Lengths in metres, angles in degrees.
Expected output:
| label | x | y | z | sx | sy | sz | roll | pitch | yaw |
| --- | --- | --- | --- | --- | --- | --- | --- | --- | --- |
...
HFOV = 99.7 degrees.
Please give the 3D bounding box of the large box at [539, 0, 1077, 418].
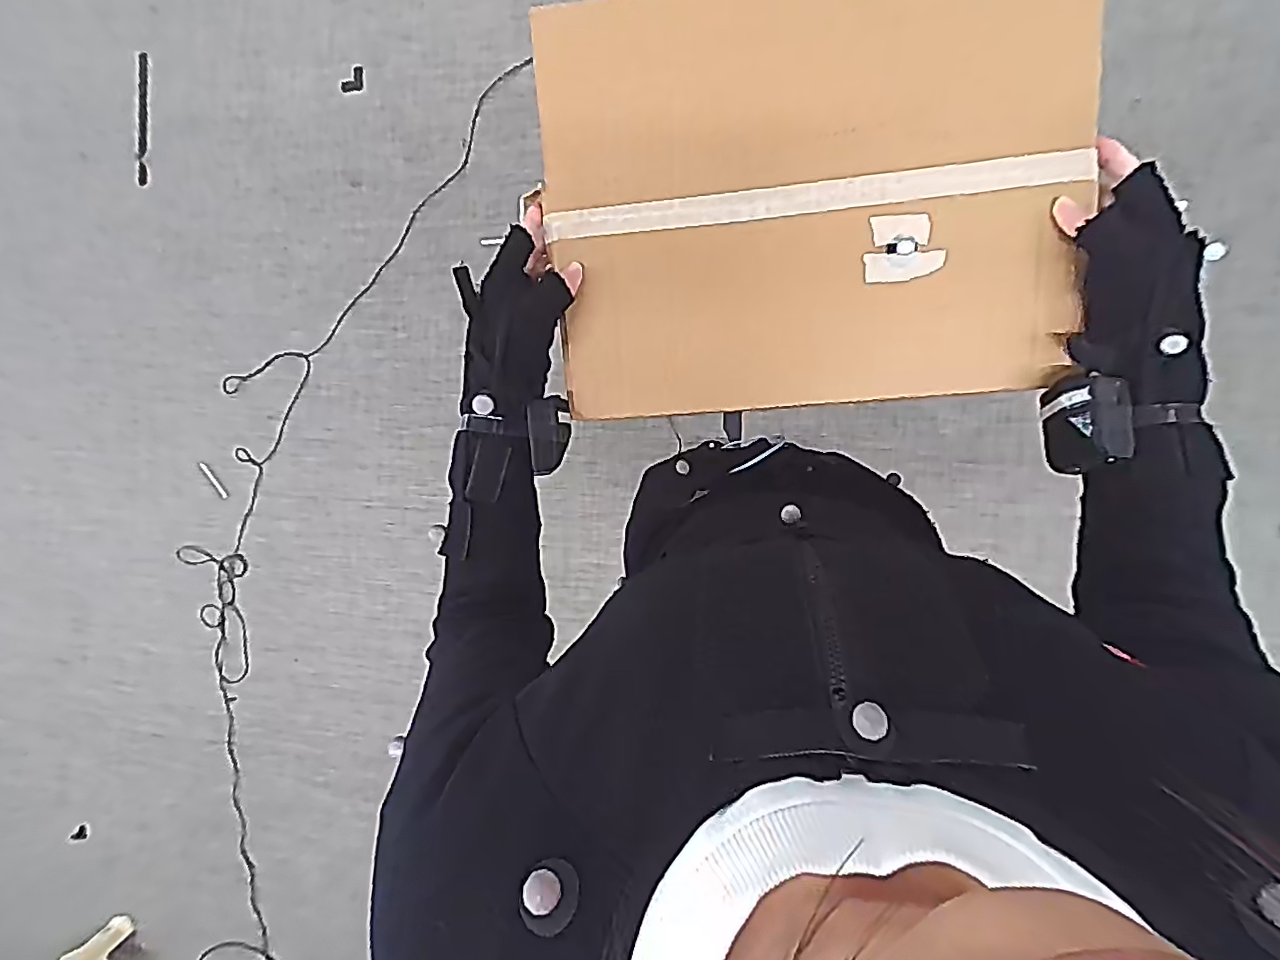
| label | x | y | z | sx | sy | sz | roll | pitch | yaw |
| --- | --- | --- | --- | --- | --- | --- | --- | --- | --- |
| large box | 0.141 | -0.243 | 0.575 | 0.408 | 0.320 | 0.320 | -4 | 100 | 6 |
